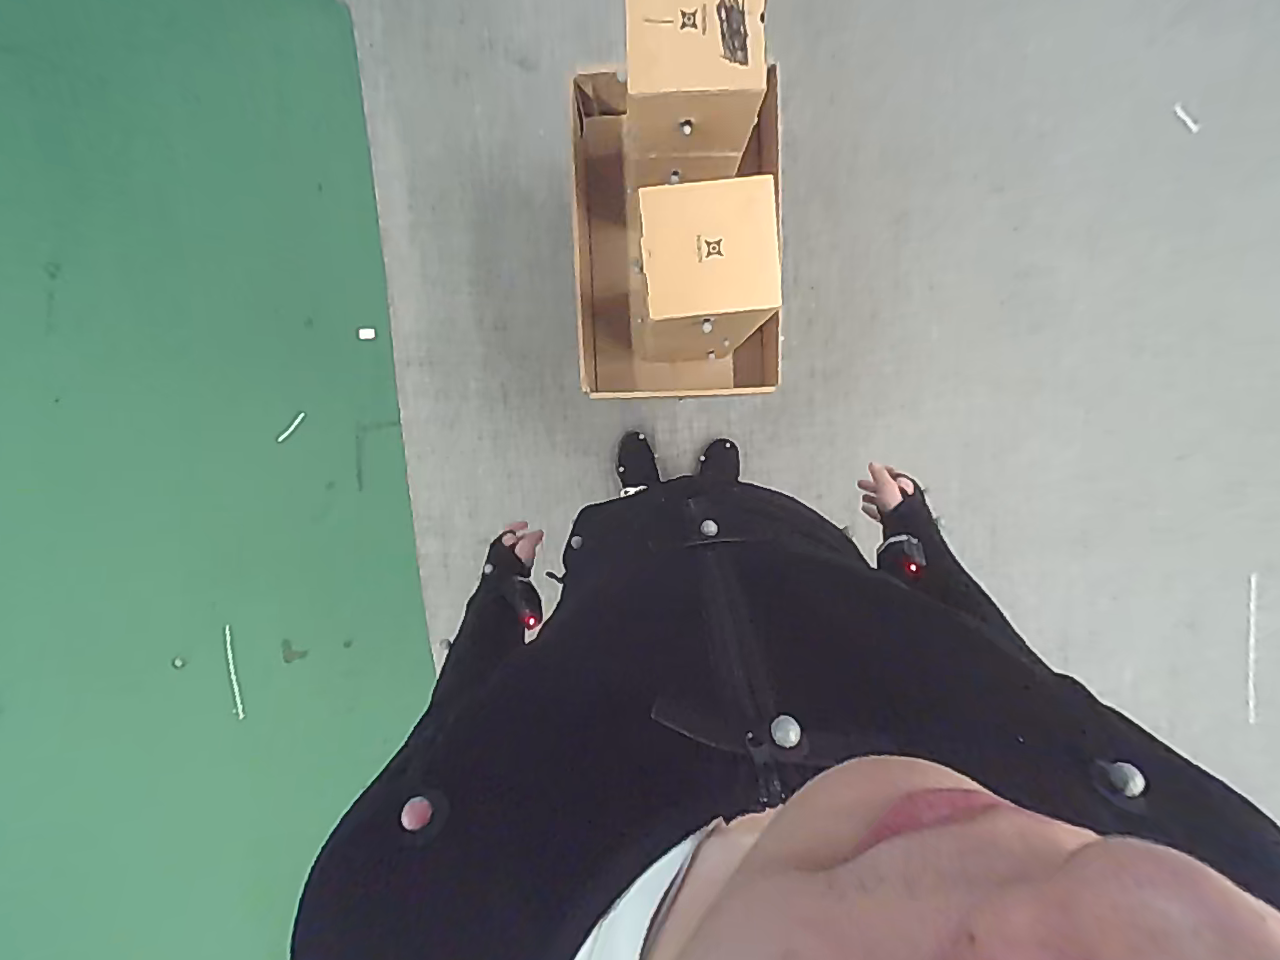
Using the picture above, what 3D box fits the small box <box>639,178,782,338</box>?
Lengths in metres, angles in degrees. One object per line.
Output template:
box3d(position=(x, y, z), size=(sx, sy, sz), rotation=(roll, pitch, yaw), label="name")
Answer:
box3d(position=(0.091, -0.303, 0.769), size=(0.179, 0.176, 0.168), rotation=(-5, 96, 1), label="small box")

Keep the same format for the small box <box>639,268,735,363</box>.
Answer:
box3d(position=(0.089, -0.333, 1.094), size=(0.179, 0.176, 0.168), rotation=(-3, 95, 1), label="small box")

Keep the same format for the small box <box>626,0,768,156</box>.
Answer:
box3d(position=(0.071, -0.571, 0.744), size=(0.179, 0.176, 0.168), rotation=(-1, 97, 1), label="small box")

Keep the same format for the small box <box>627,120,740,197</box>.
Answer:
box3d(position=(0.071, -0.589, 0.908), size=(0.179, 0.176, 0.168), rotation=(0, 97, 1), label="small box")
